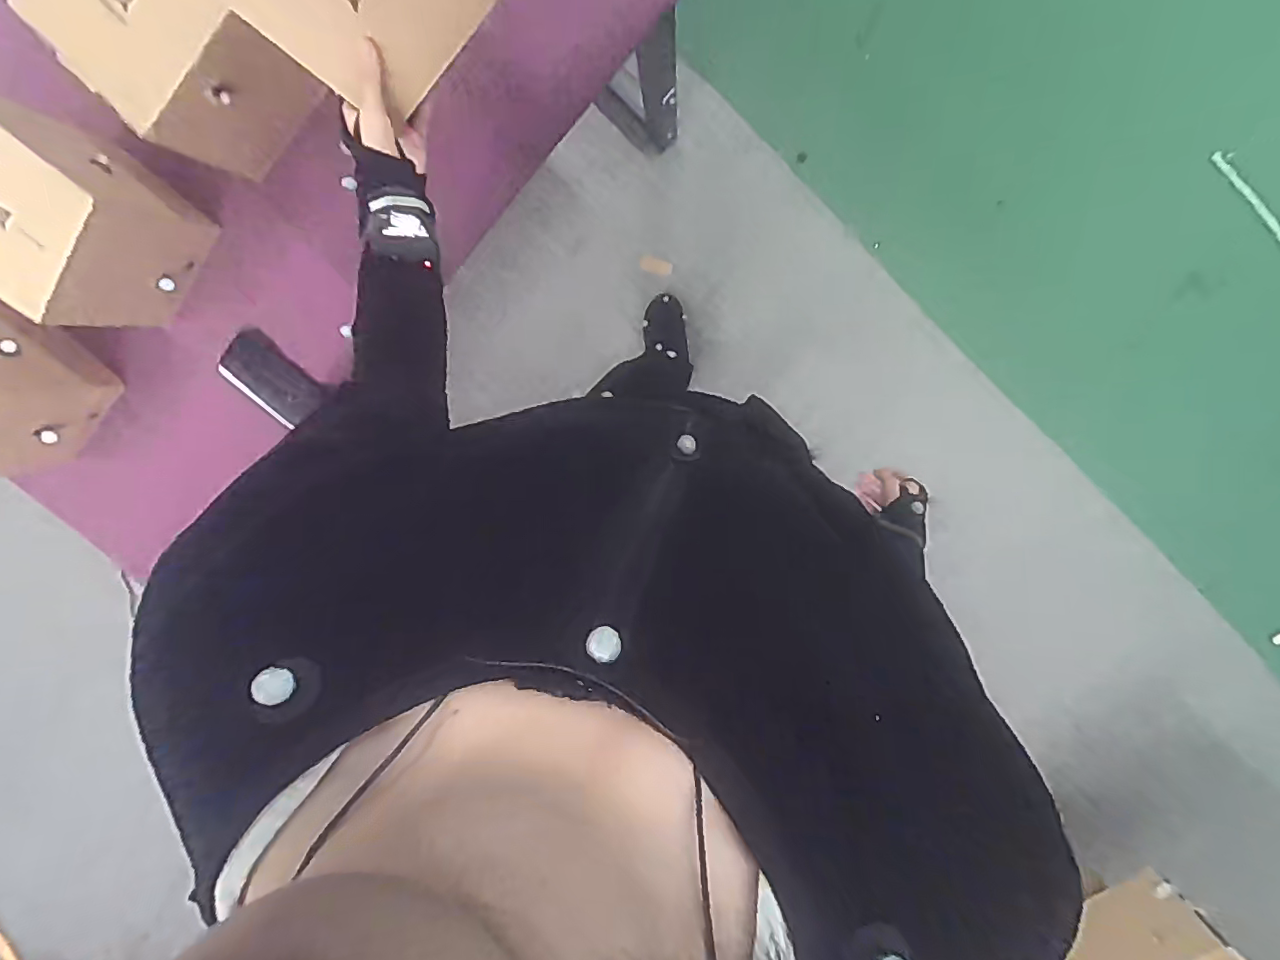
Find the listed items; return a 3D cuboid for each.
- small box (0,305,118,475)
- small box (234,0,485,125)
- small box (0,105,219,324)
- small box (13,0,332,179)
[{"bbox_3d":[-0.862,-0.118,0.707,0.168,0.176,0.179,-43,98,12],"label":"small box"},{"bbox_3d":[-0.241,-0.476,0.474,0.179,0.176,0.168,-27,145,31],"label":"small box"},{"bbox_3d":[-0.676,-0.302,0.649,0.179,0.176,0.168,40,103,-7],"label":"small box"},{"bbox_3d":[-0.488,-0.474,0.595,0.179,0.176,0.168,-41,99,12],"label":"small box"}]
